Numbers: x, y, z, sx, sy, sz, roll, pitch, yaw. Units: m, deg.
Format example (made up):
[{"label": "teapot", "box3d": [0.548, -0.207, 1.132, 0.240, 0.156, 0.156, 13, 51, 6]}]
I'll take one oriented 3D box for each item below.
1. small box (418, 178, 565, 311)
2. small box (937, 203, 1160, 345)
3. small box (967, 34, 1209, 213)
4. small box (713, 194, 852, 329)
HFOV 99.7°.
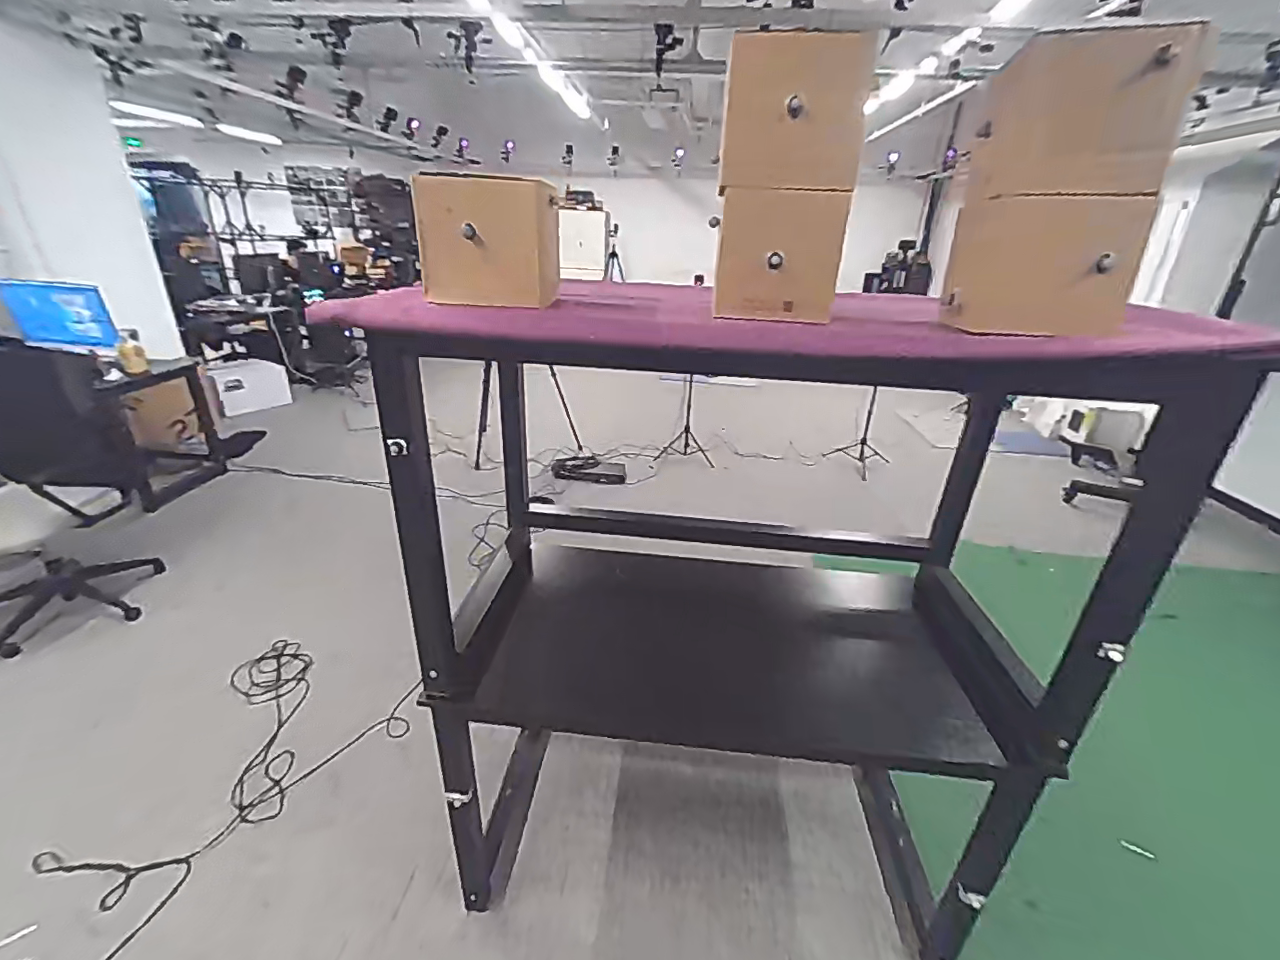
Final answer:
[{"label": "small box", "box3d": [-0.213, -0.355, 0.826, 0.179, 0.176, 0.168, 3, 25, -1]}, {"label": "small box", "box3d": [0.545, -0.282, 0.753, 0.179, 0.176, 0.168, 5, 21, 10]}, {"label": "small box", "box3d": [0.548, -0.436, 0.699, 0.179, 0.176, 0.168, 7, 22, 12]}, {"label": "small box", "box3d": [0.203, -0.328, 0.816, 0.168, 0.176, 0.179, 6, 24, 5]}]
